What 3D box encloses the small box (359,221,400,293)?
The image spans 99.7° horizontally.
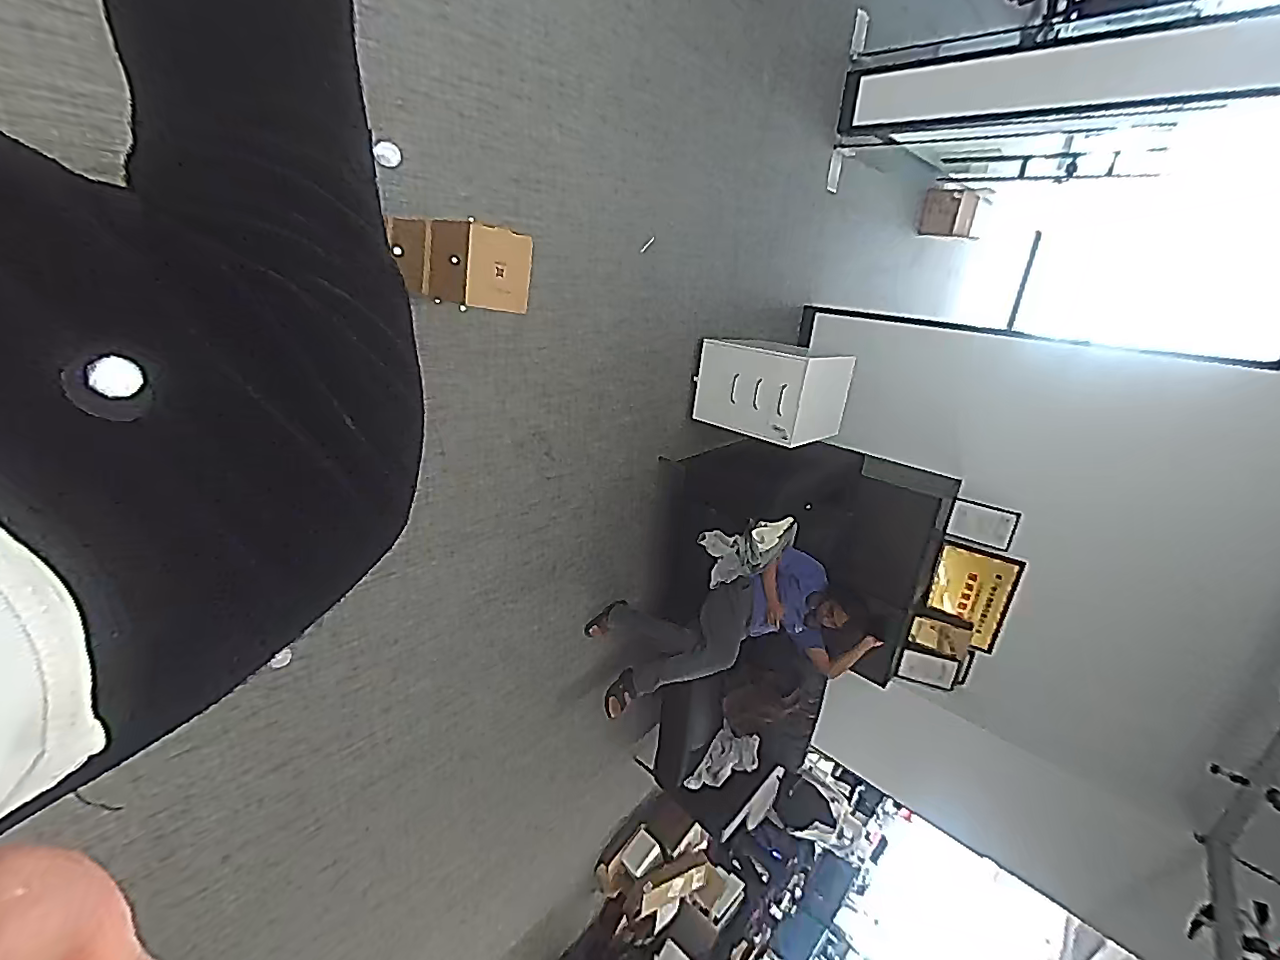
[{"bbox_3d":[-0.624,-0.587,1.445,0.179,0.176,0.168,-11,116,-49],"label":"small box"}]

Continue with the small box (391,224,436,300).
[{"bbox_3d":[-0.496,-0.536,1.353,0.179,0.176,0.168,-9,114,-48],"label":"small box"}]

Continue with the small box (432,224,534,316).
[{"bbox_3d":[-0.371,-0.490,1.263,0.168,0.176,0.179,-11,117,-47],"label":"small box"}]
